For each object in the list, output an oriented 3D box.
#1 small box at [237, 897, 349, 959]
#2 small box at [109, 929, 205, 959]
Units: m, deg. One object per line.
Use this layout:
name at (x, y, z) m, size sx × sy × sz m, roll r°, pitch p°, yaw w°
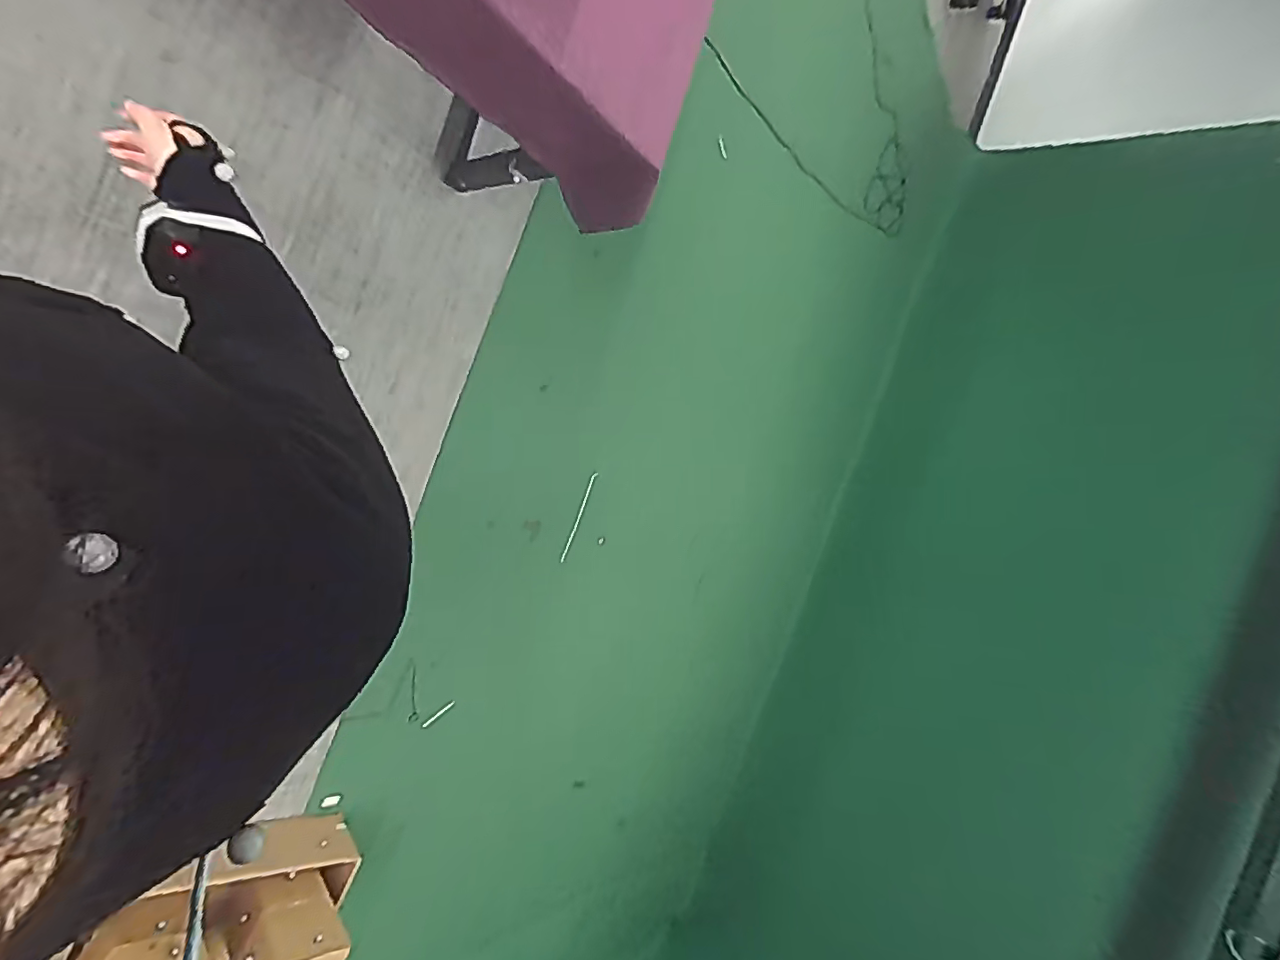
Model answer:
small box at (-0.897, 1.226, 1.391) m, size 0.179 × 0.176 × 0.168 m, roll 31°, pitch 82°, yaw -49°
small box at (-1.067, 1.129, 1.162) m, size 0.168 × 0.176 × 0.179 m, roll 41°, pitch 72°, yaw -49°
